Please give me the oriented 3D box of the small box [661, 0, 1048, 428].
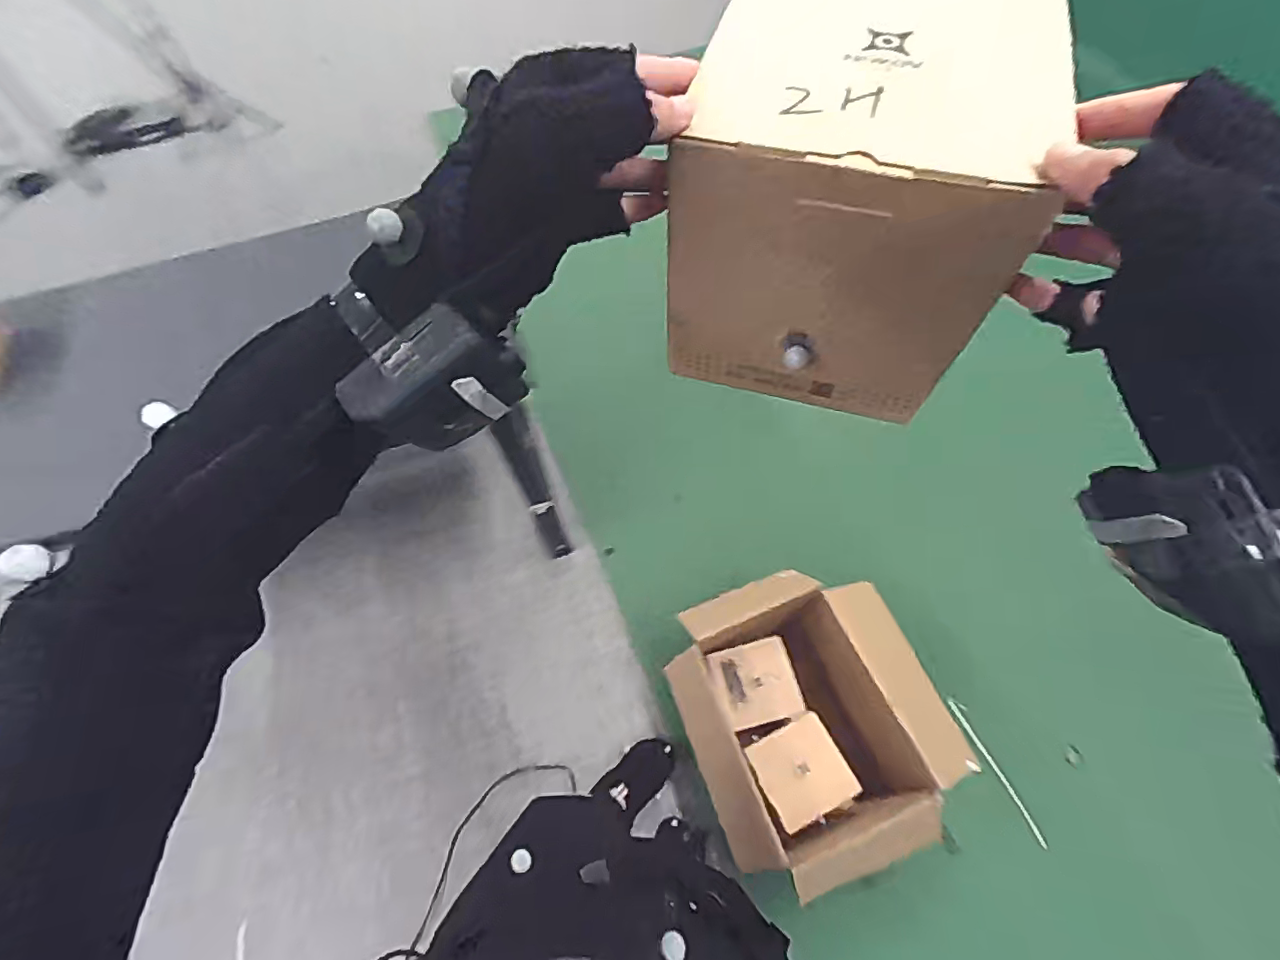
[{"bbox_3d":[0.111,-0.161,0.336,0.168,0.176,0.179,14,64,9],"label":"small box"}]
